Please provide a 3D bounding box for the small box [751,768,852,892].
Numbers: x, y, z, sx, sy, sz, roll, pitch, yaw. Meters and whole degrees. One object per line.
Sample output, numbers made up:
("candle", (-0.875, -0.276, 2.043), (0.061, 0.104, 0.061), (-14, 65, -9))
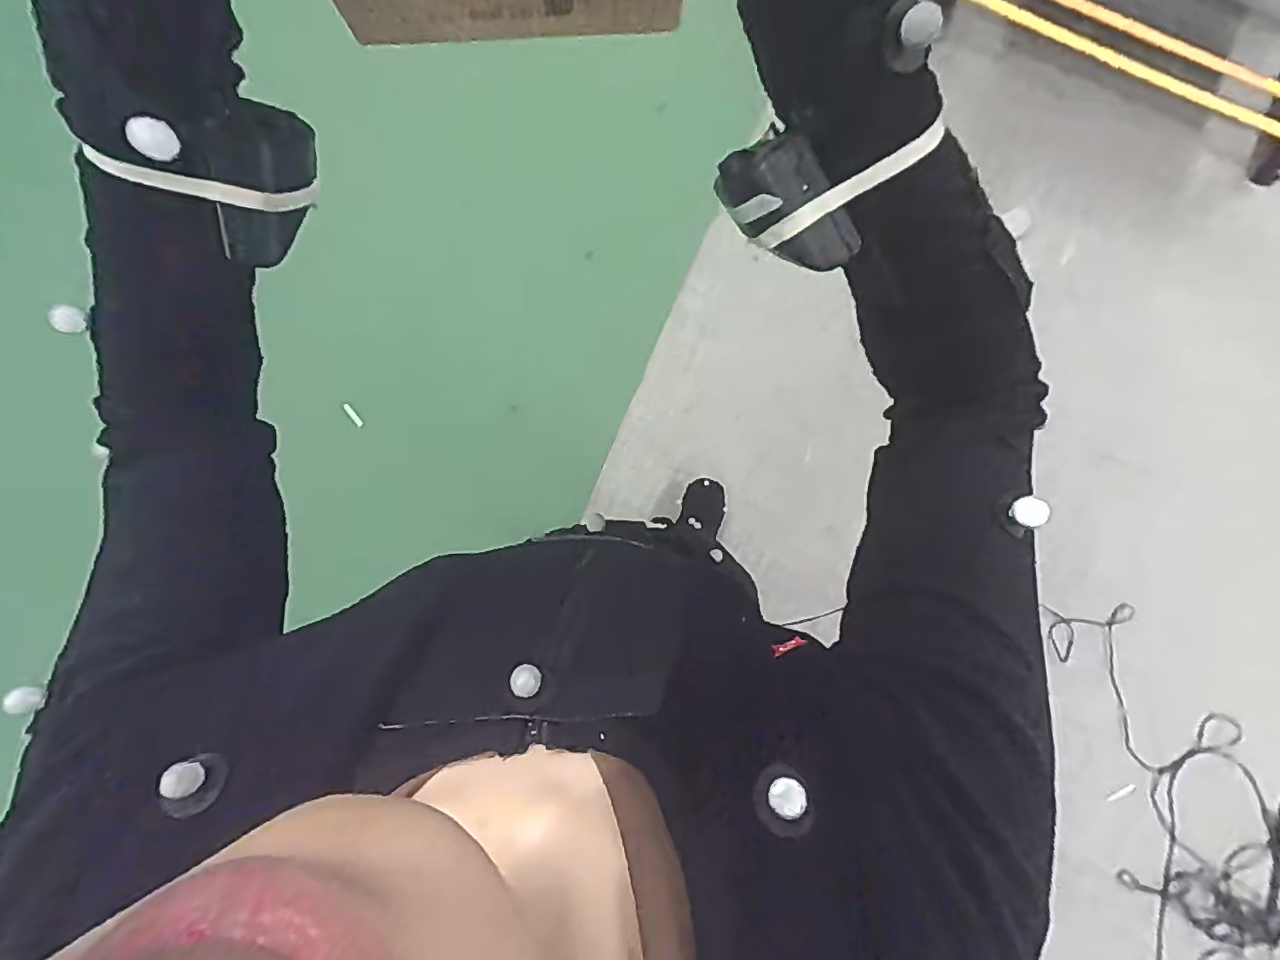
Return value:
("small box", (0.395, 0.864, 1.356), (0.168, 0.176, 0.179), (23, 86, 0))
